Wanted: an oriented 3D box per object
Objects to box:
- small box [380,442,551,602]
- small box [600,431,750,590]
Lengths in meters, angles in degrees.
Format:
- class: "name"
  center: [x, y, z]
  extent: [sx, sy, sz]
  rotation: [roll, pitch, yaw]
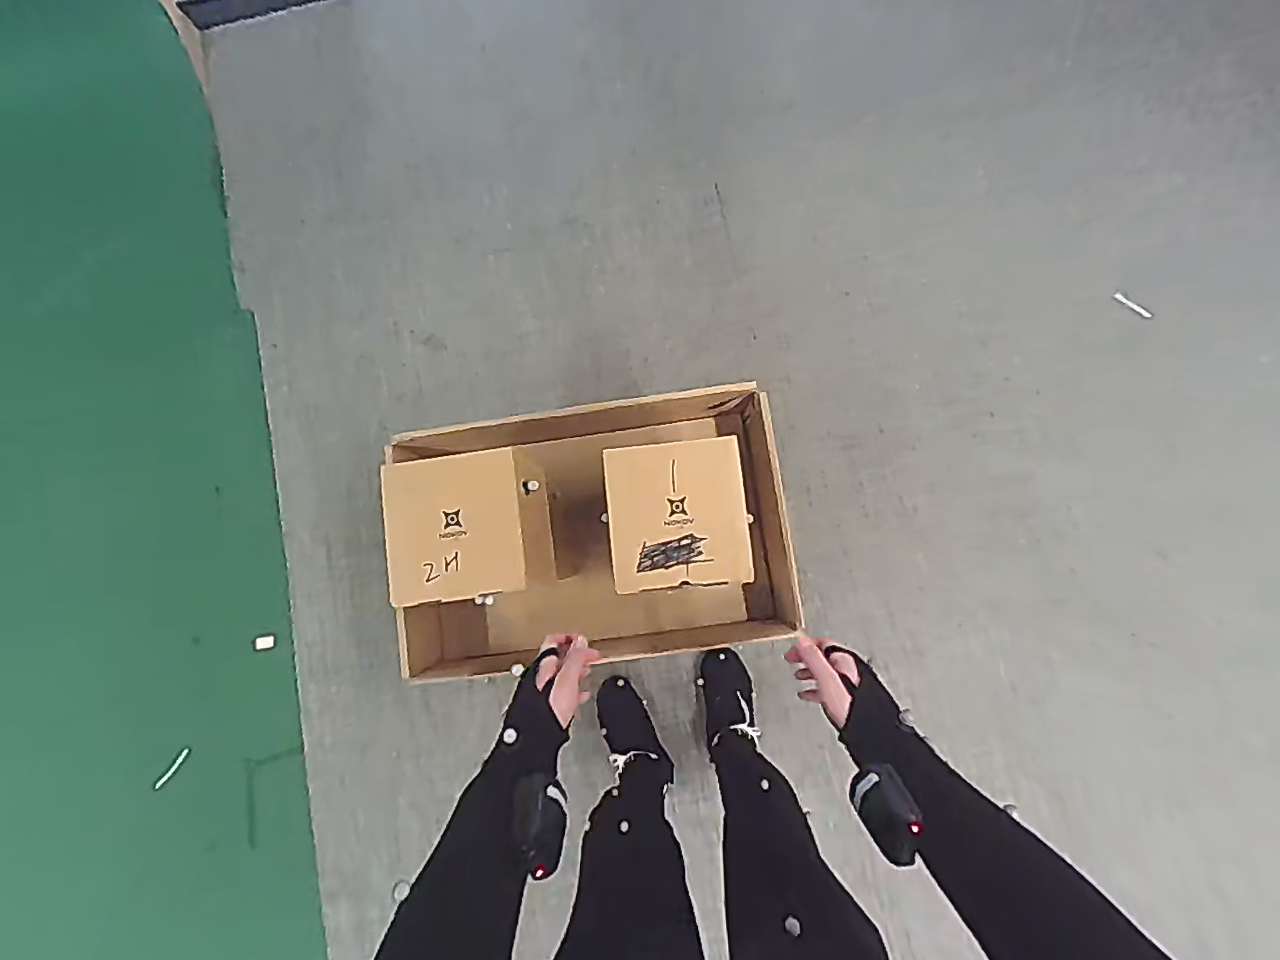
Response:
- class: "small box"
  center: [-0.222, 0.060, 0.720]
  extent: [0.168, 0.176, 0.179]
  rotation: [-8, 82, 2]
- class: "small box"
  center: [0.044, 0.044, 0.711]
  extent: [0.168, 0.176, 0.179]
  rotation: [-6, 82, 2]
